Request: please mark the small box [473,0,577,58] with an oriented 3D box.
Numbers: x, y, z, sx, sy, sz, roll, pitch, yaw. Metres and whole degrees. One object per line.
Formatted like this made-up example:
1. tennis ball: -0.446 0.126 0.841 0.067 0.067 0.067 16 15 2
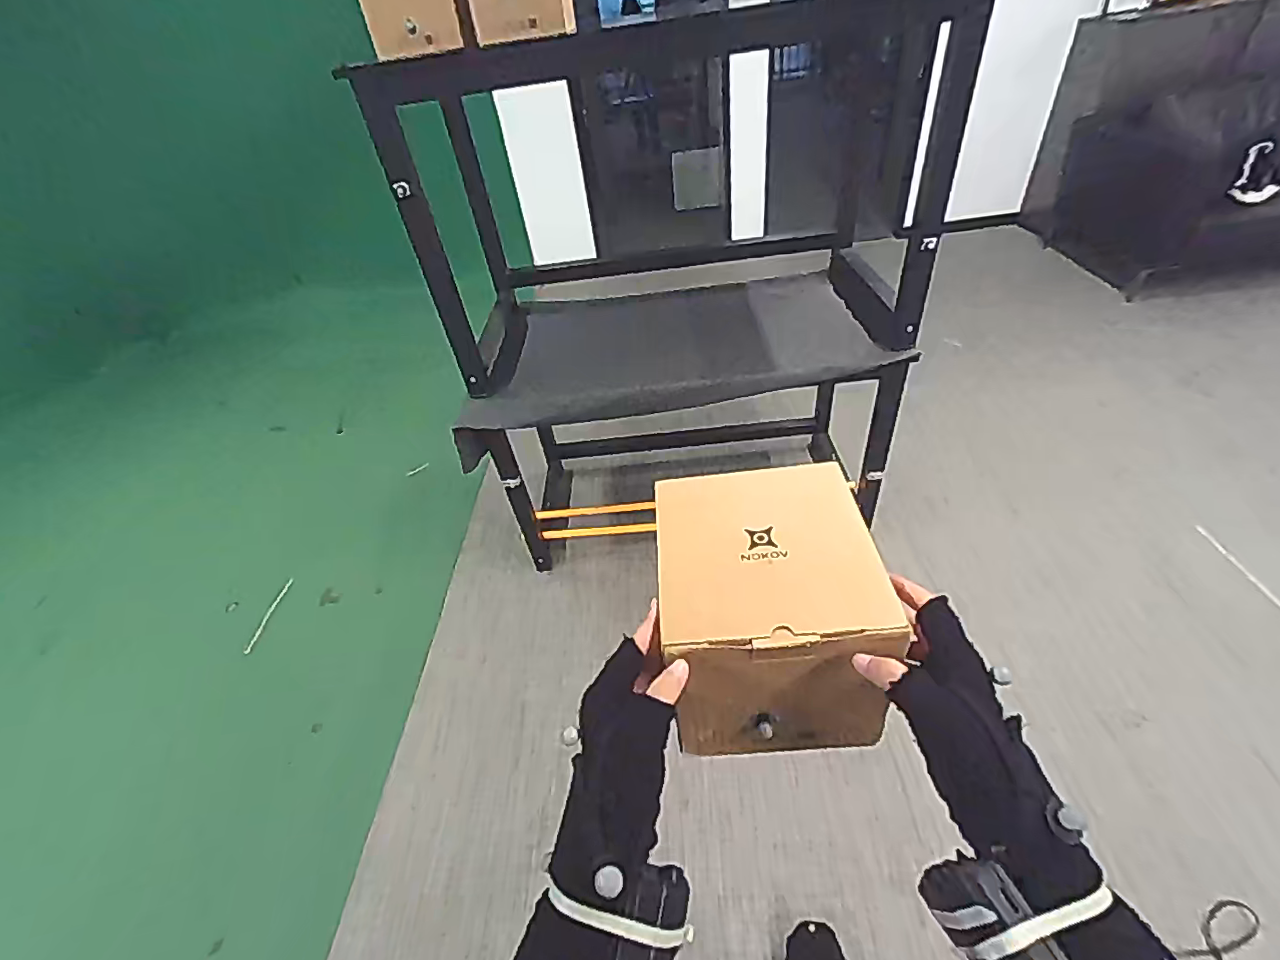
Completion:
1. small box: -0.220 -0.922 1.030 0.168 0.176 0.179 -5 41 4
